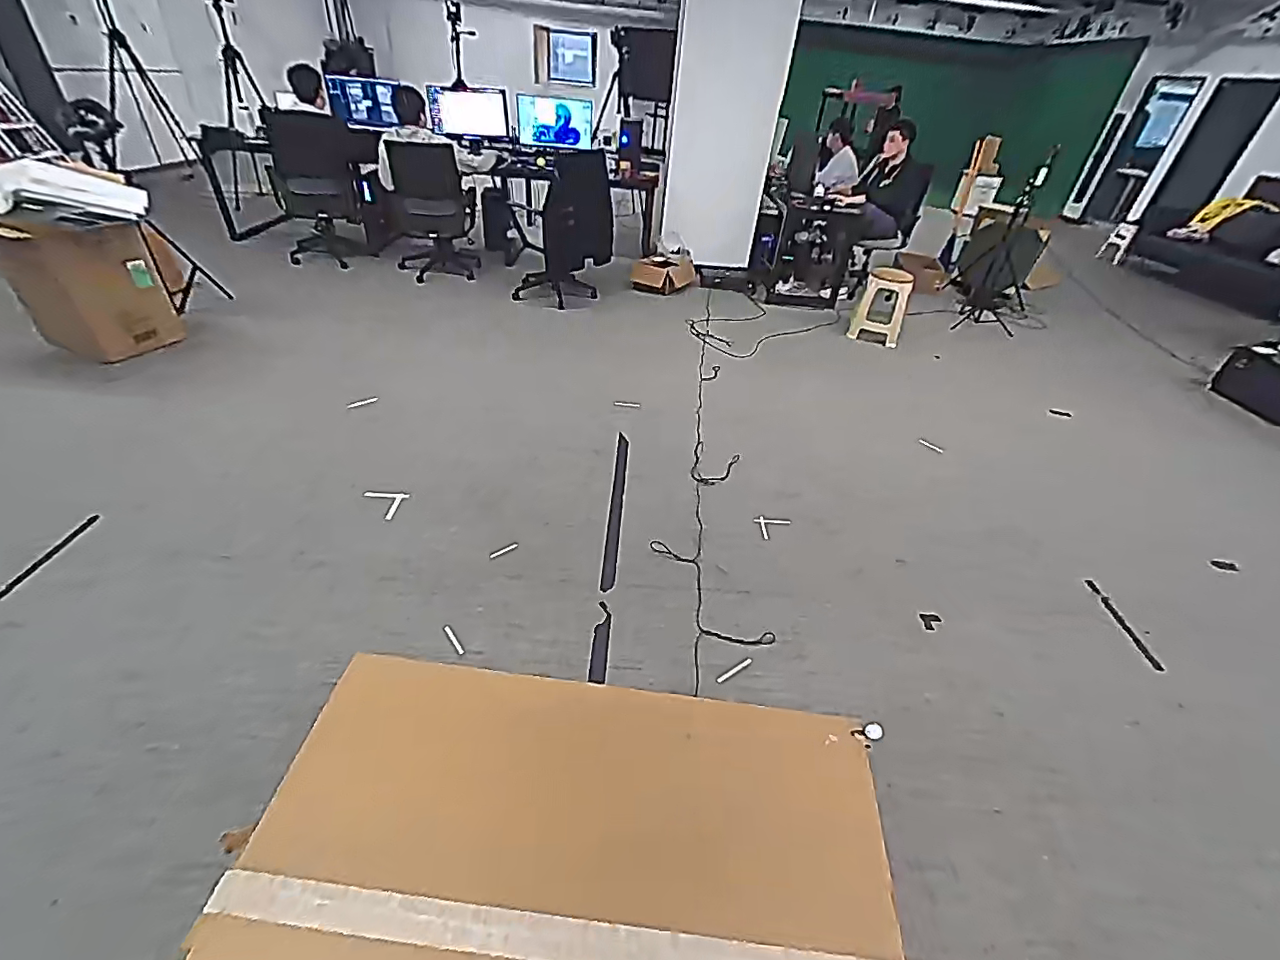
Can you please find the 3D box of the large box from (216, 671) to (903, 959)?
[{"bbox_3d":[-0.052,0.385,0.420,0.408,0.320,0.320,7,43,1],"label":"large box"}]
